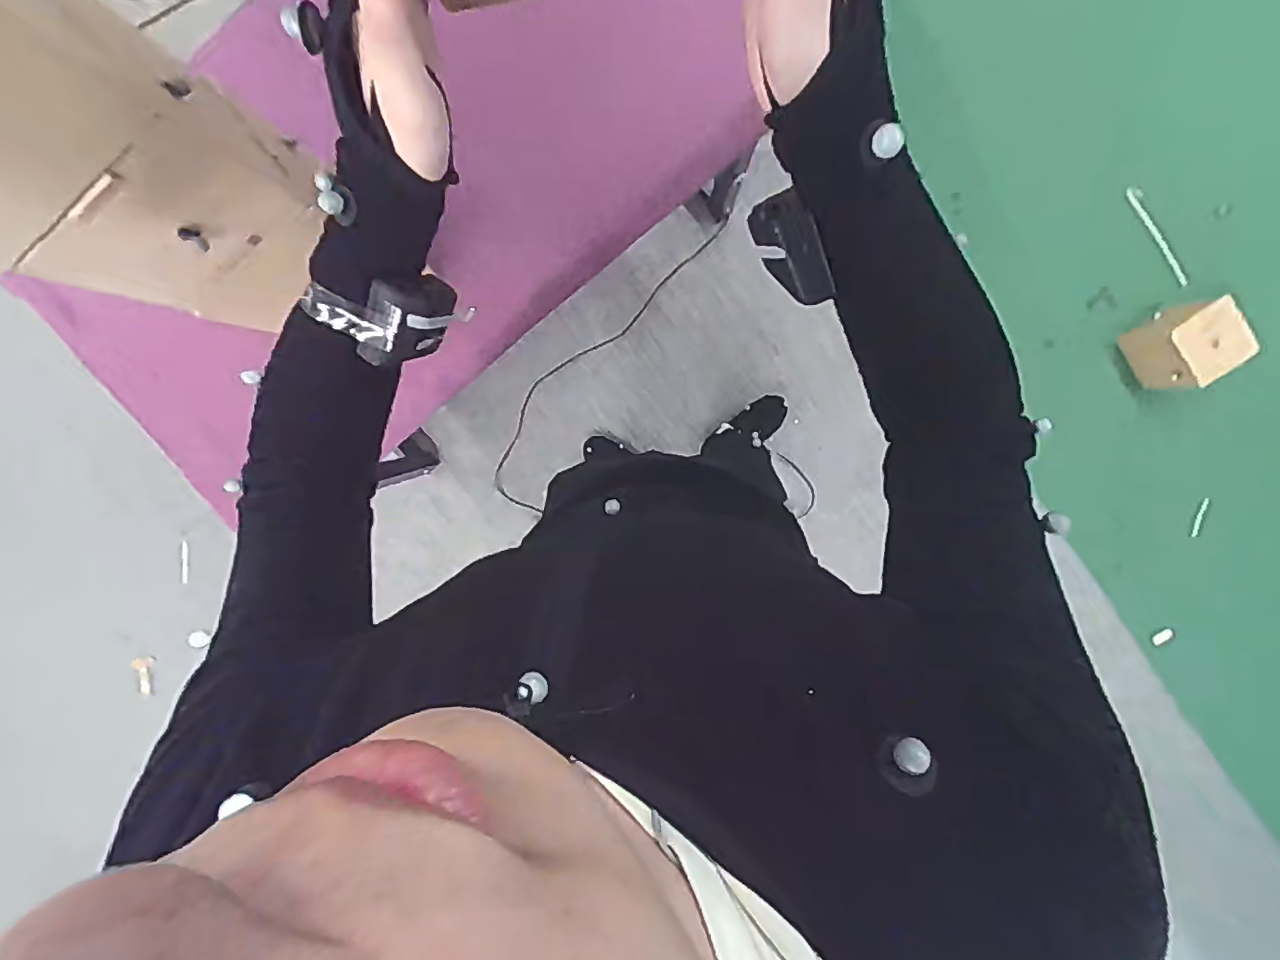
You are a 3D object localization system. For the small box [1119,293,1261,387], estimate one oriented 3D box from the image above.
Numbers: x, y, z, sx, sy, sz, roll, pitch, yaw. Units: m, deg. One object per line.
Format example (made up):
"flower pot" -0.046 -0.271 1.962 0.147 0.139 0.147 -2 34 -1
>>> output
"small box" 1.455 -0.366 1.442 0.168 0.176 0.179 -35 96 6

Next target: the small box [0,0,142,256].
"small box" -0.456 -0.258 0.302 0.179 0.176 0.168 -40 94 5

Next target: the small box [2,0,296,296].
"small box" -0.453 -0.281 0.465 0.168 0.176 0.179 -41 95 6

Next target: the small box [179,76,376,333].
"small box" -0.443 -0.296 0.627 0.179 0.176 0.168 -39 94 6
